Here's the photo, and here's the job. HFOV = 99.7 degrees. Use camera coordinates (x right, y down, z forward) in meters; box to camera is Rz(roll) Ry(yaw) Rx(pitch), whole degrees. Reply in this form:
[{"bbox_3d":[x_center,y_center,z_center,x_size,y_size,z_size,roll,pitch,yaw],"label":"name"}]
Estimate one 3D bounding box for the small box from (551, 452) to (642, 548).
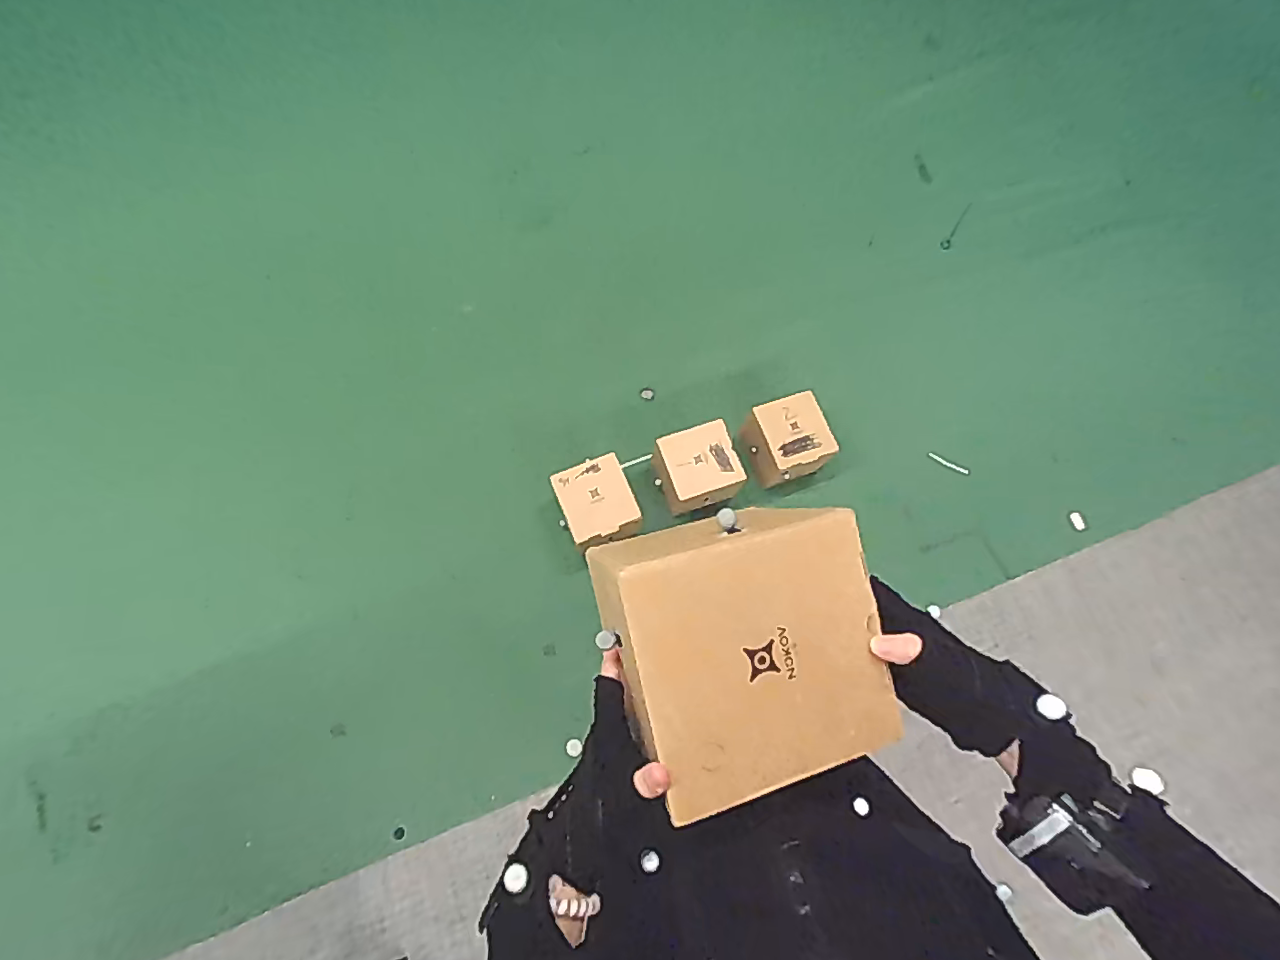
[{"bbox_3d":[-0.103,0.058,1.317,0.168,0.176,0.179,-21,77,-9],"label":"small box"}]
